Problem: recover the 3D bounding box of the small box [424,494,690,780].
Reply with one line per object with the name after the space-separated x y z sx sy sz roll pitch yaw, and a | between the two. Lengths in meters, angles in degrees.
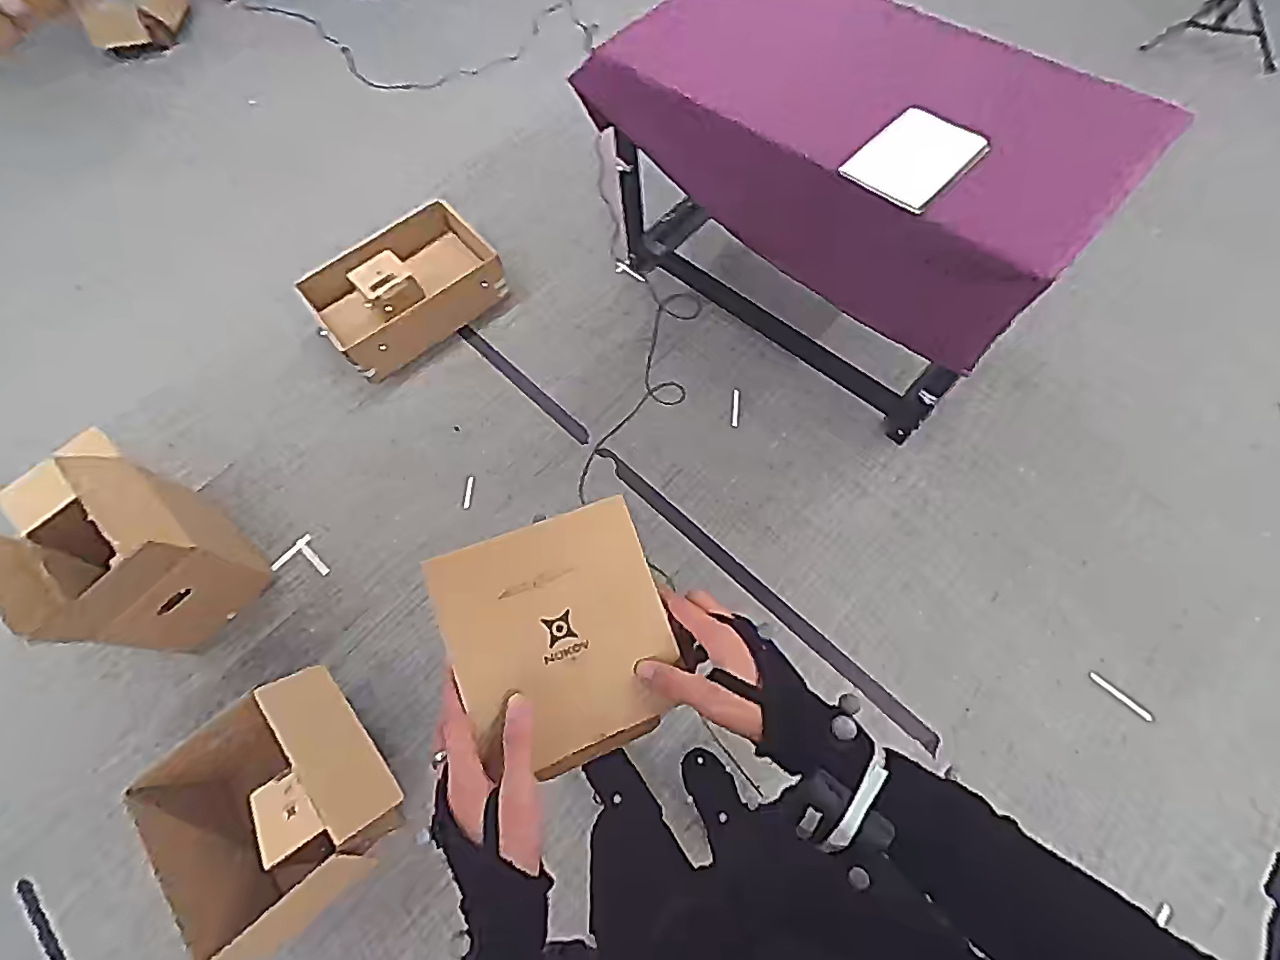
-0.075 0.127 0.494 0.168 0.176 0.179 -18 84 -14 | small box
